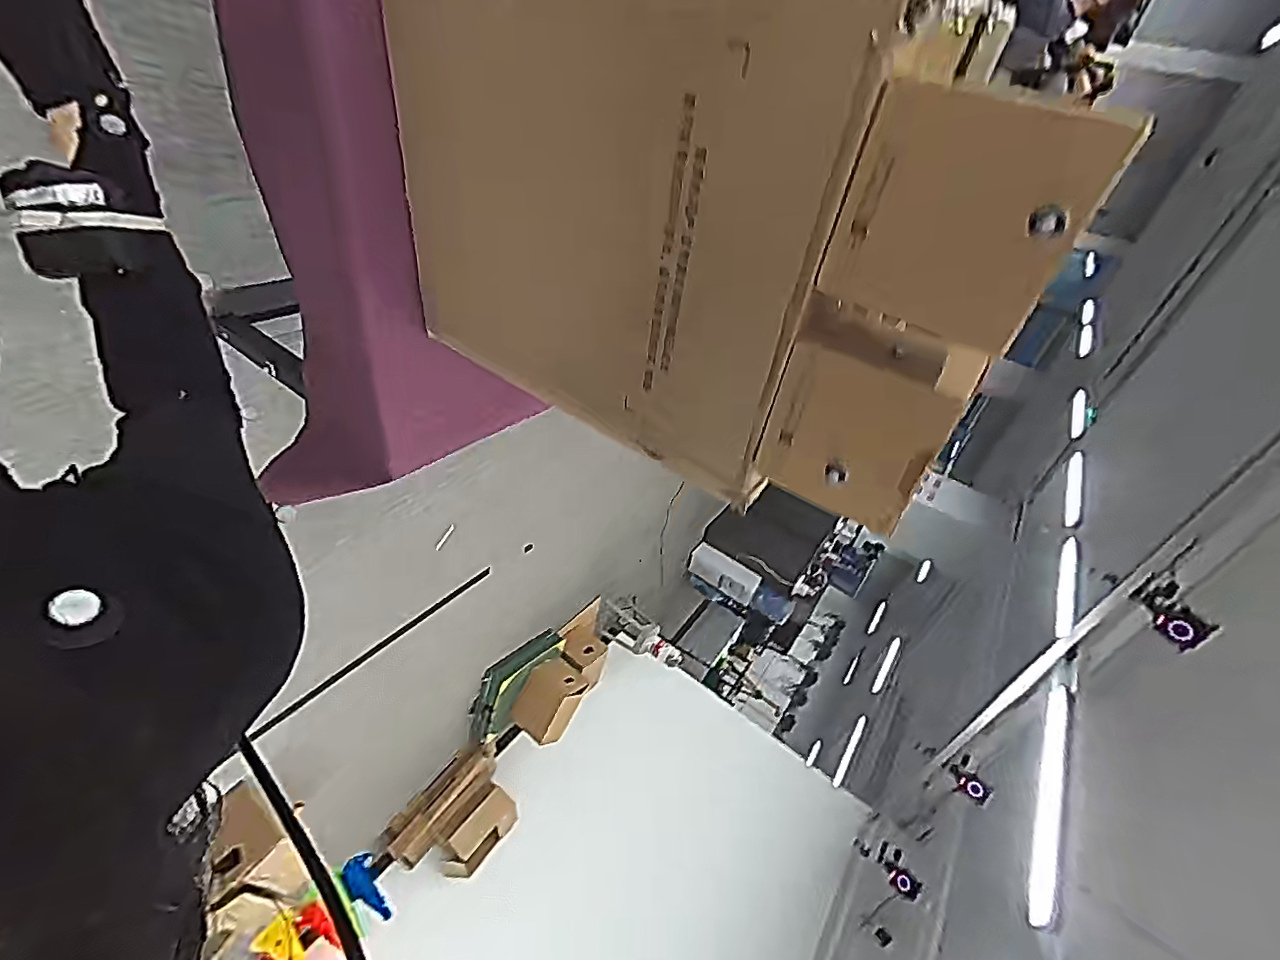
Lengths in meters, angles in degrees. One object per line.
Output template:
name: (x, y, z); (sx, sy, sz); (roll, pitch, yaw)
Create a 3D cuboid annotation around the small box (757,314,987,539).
small box: (0.254, -0.070, 0.611); (0.179, 0.176, 0.168); (-36, 148, -46)
